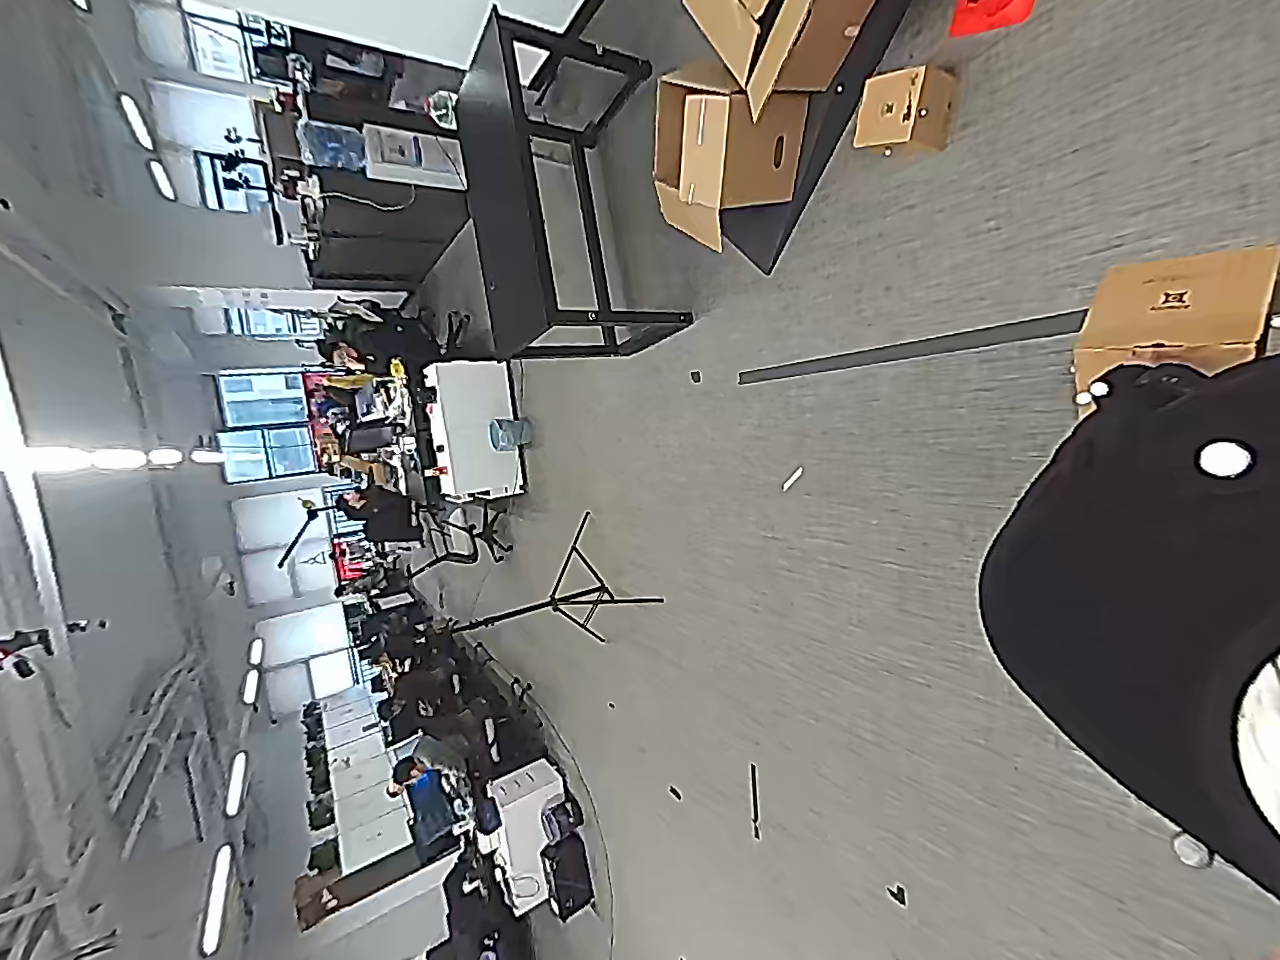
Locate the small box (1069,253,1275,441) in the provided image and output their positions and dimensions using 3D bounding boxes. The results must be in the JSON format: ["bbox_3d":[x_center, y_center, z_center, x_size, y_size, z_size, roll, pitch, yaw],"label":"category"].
[{"bbox_3d":[0.716,-0.173,0.736,0.168,0.179,0.176,13,149,48],"label":"small box"}]
